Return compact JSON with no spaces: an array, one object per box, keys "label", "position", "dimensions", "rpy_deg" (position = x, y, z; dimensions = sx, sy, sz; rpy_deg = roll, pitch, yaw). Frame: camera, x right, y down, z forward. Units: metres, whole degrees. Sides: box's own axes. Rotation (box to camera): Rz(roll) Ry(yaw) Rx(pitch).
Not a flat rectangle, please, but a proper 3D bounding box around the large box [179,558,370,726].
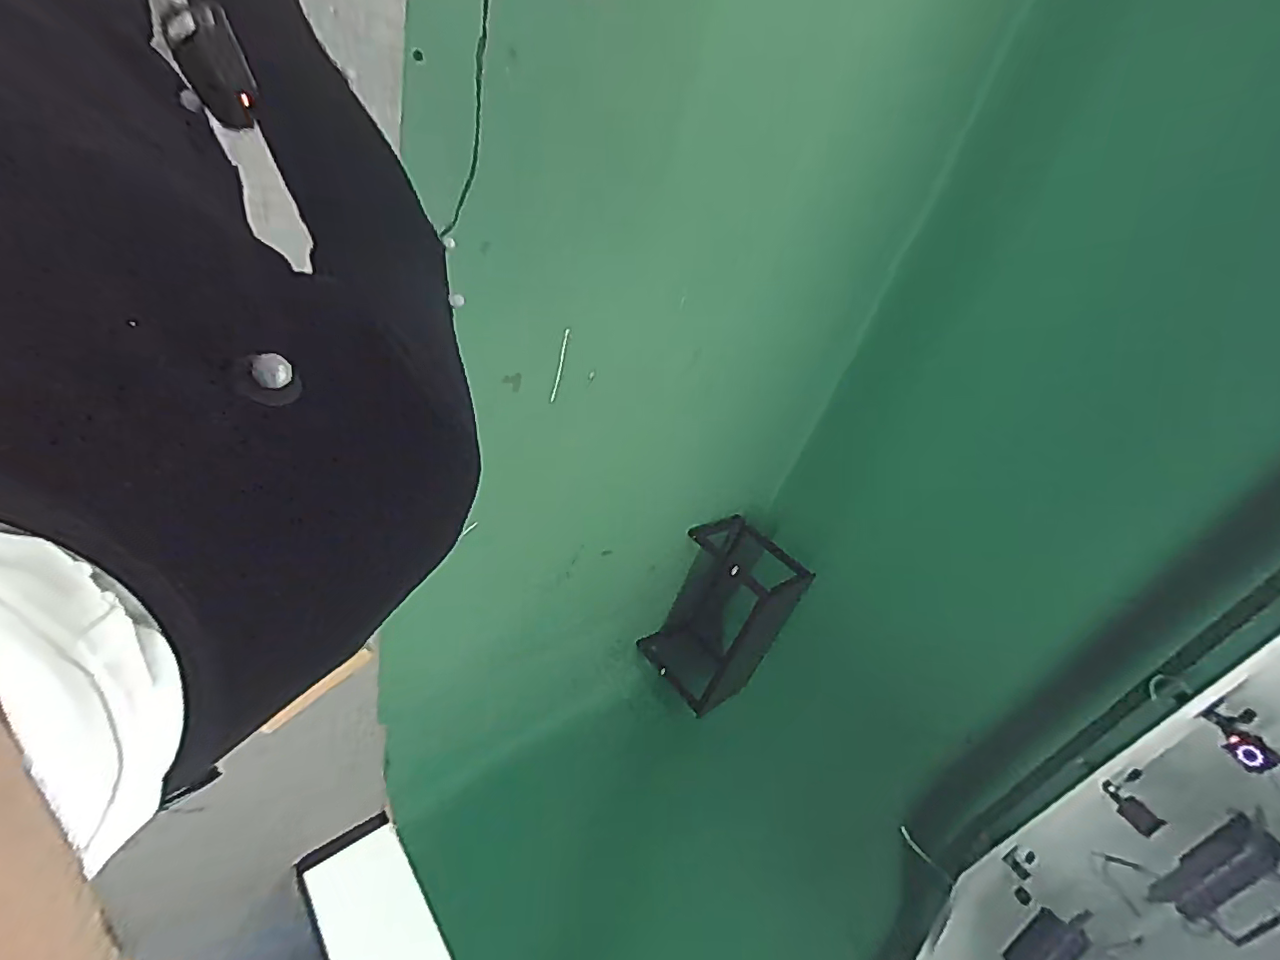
[{"label":"large box","position":[-1.243,0.554,1.857],"dimensions":[0.408,0.320,0.320],"rpy_deg":[-39,147,-17]}]
